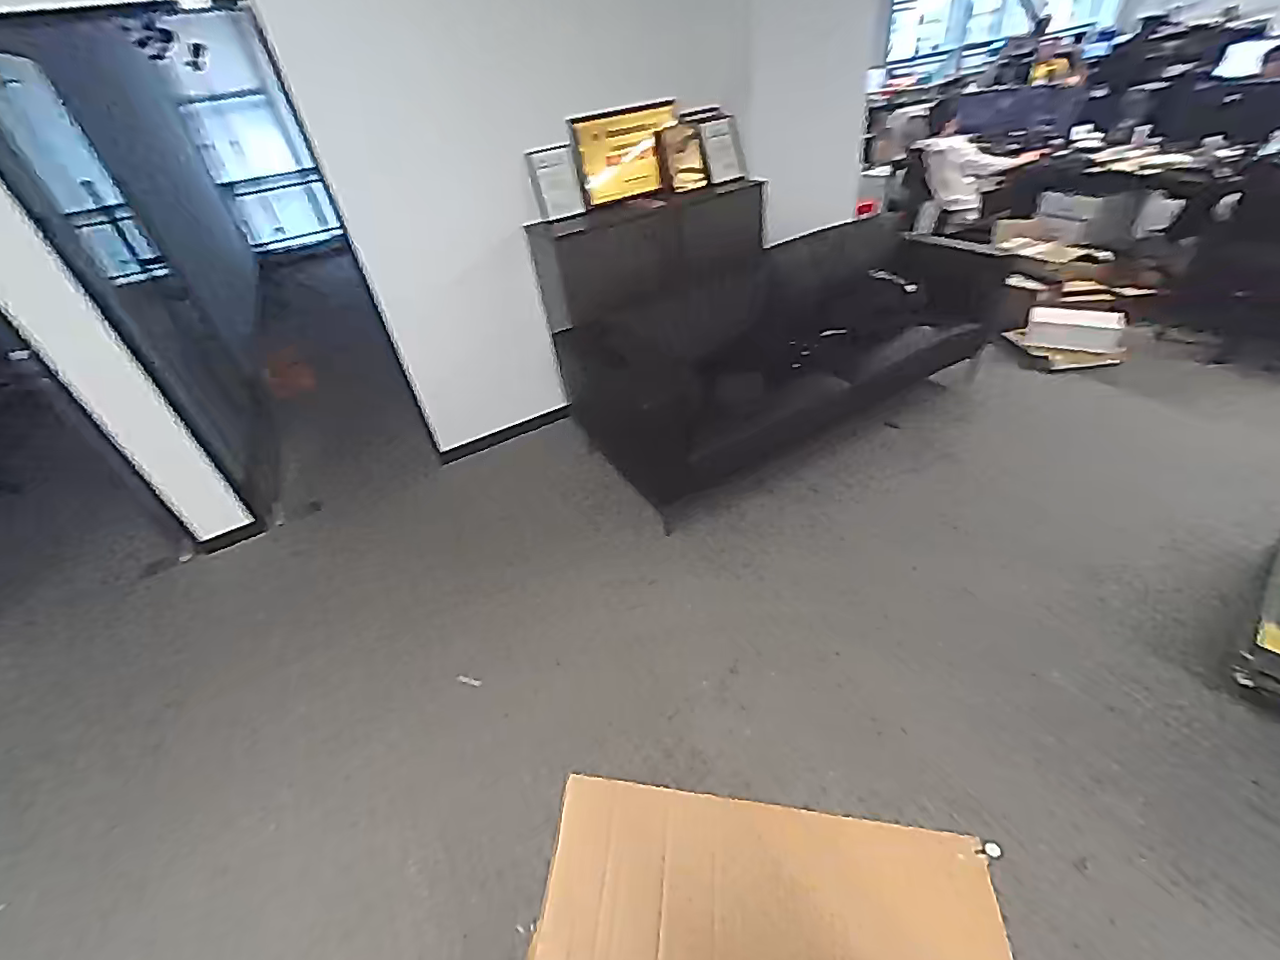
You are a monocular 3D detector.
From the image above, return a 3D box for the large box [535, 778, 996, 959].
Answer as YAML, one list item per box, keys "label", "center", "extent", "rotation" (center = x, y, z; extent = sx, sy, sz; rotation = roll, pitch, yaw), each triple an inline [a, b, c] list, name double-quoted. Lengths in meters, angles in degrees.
- label: "large box"
  center: [0.093, 0.533, 0.544]
  extent: [0.408, 0.320, 0.320]
  rotation: [8, 47, 0]
